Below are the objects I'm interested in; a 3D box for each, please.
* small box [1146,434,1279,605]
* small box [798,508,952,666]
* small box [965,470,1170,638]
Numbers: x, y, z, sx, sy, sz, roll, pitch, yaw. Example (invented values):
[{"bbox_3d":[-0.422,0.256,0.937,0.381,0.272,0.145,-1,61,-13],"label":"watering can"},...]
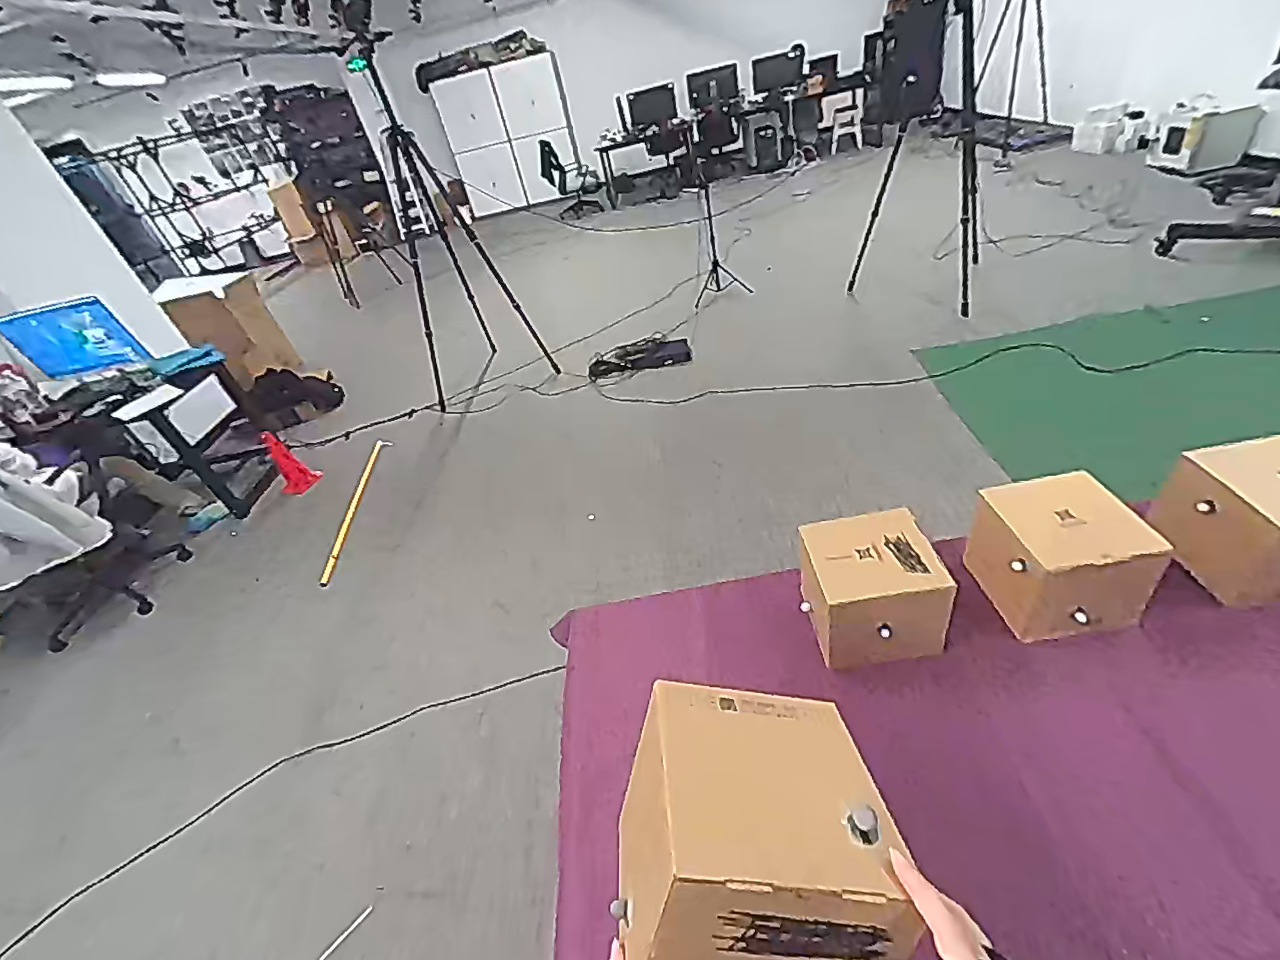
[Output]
[{"bbox_3d":[0.915,0.057,0.796,0.168,0.176,0.179,-11,40,8],"label":"small box"},{"bbox_3d":[0.359,0.171,0.857,0.179,0.176,0.168,-11,37,7],"label":"small box"},{"bbox_3d":[0.634,0.114,0.834,0.168,0.176,0.179,-12,38,5],"label":"small box"}]
